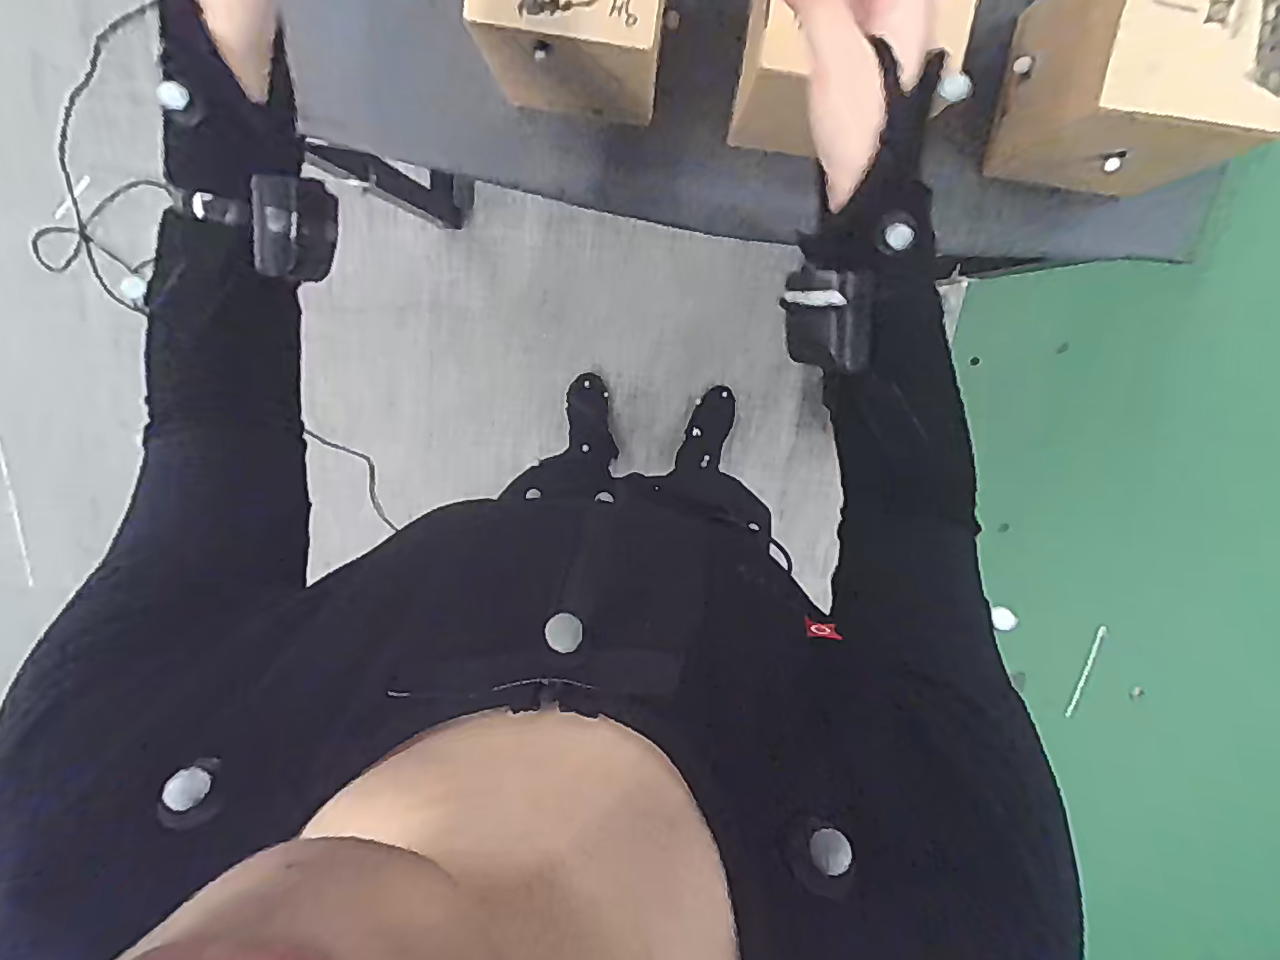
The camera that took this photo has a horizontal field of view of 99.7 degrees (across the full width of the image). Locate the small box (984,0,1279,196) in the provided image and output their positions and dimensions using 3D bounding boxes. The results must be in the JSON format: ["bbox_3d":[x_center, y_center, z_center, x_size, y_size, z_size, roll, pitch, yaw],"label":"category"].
[{"bbox_3d":[0.486,-0.396,0.526,0.179,0.176,0.168,9,101,0],"label":"small box"}]

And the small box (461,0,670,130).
[{"bbox_3d":[-0.057,-0.476,0.519,0.168,0.176,0.179,9,103,0],"label":"small box"}]

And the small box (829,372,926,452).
[{"bbox_3d":[0.581,-0.173,1.346,0.168,0.176,0.179,0,105,1],"label":"small box"}]
